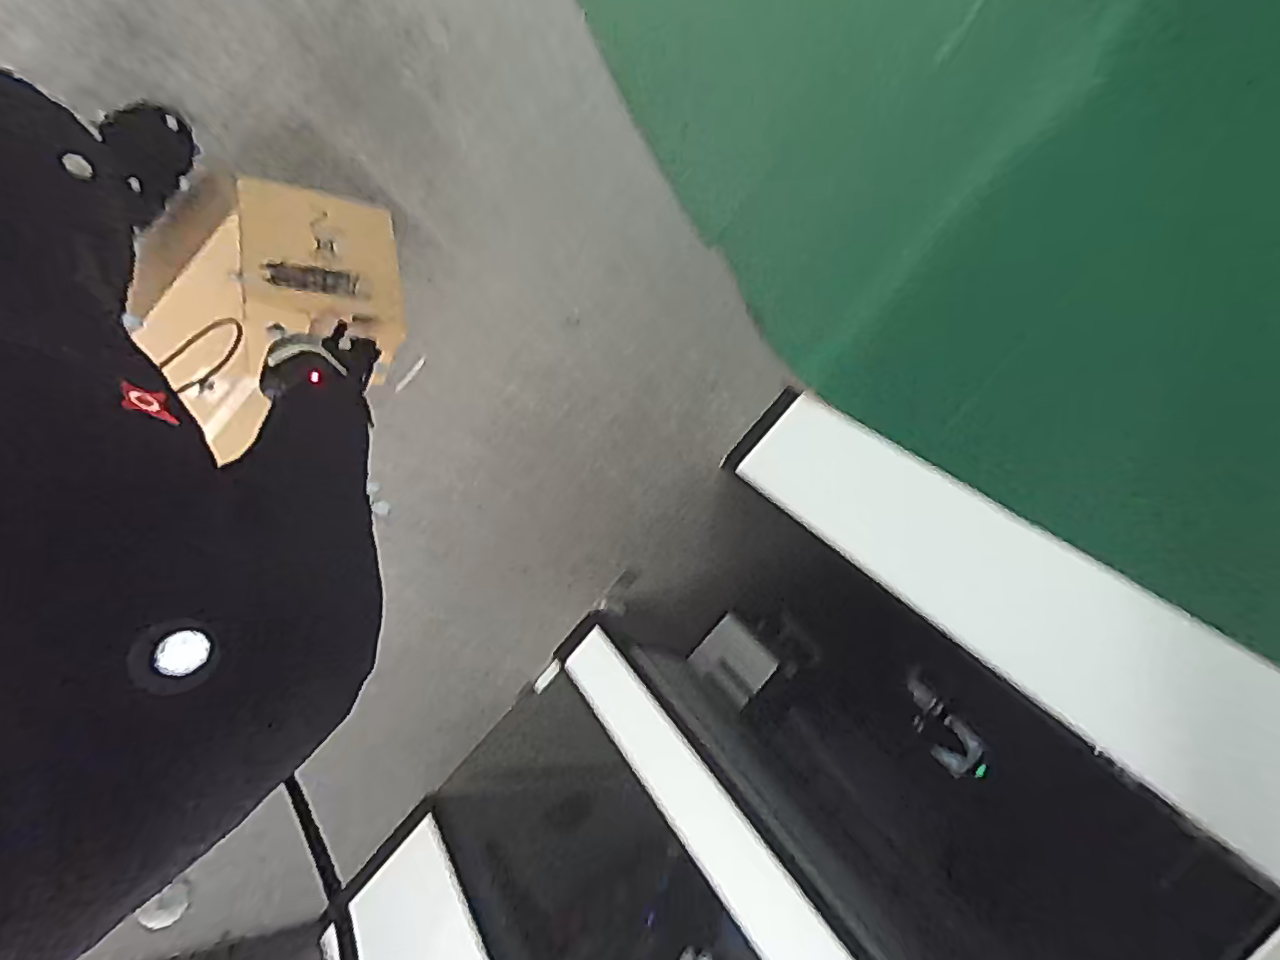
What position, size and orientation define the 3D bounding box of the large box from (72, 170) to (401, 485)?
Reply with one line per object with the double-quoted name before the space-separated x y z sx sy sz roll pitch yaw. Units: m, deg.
"large box" -0.738 -0.275 1.008 0.408 0.320 0.320 -47 143 3
